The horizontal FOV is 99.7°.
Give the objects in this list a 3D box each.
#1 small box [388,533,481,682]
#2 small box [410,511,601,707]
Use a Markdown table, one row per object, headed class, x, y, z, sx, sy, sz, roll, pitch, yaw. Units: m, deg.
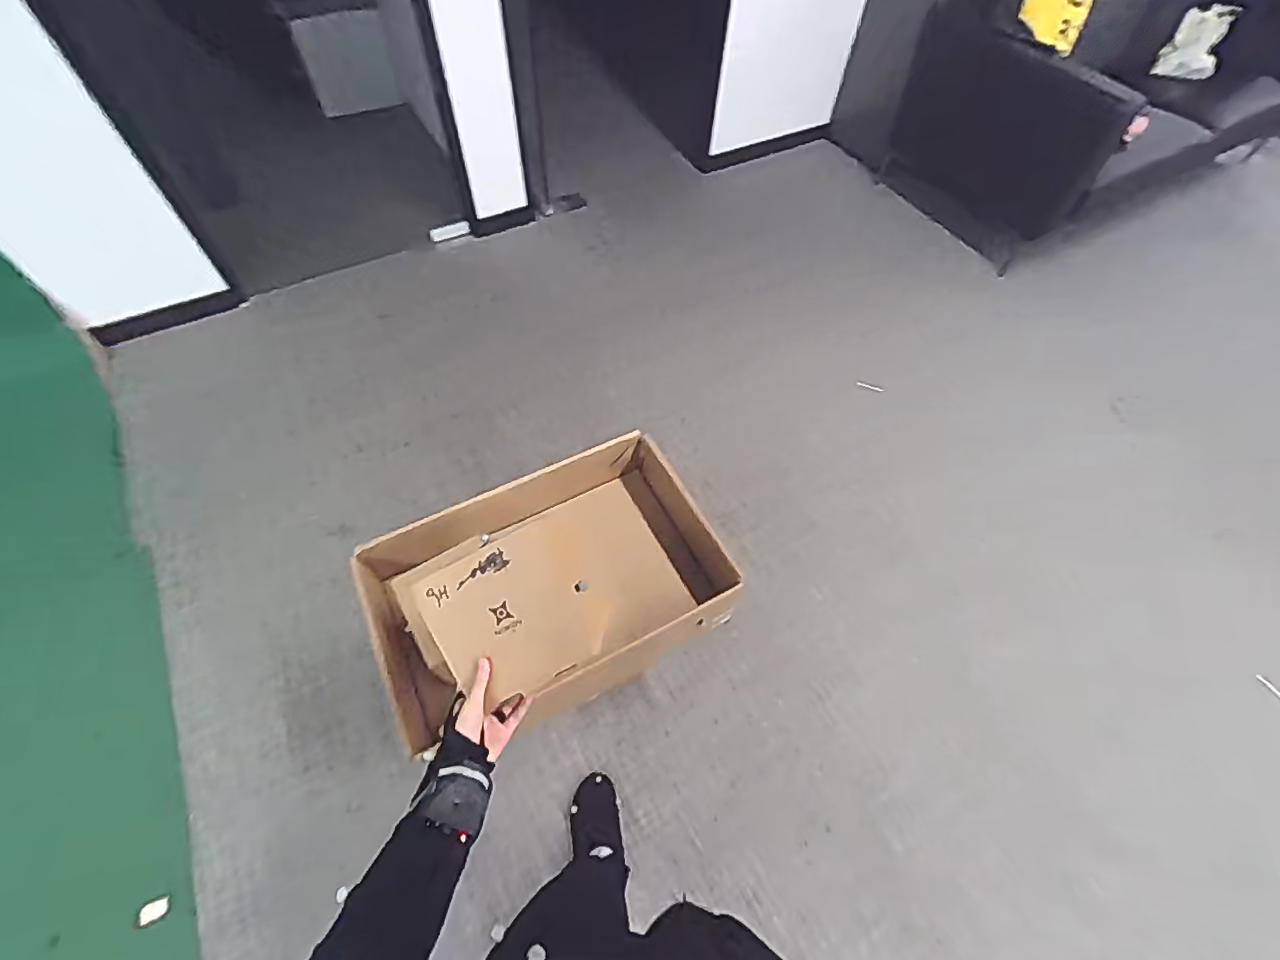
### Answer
| class | x | y | z | sx | sy | sz | roll | pitch | yaw |
| --- | --- | --- | --- | --- | --- | --- | --- | --- | --- |
| small box | -0.317 | 0.232 | 0.968 | 0.168 | 0.176 | 0.179 | -28 | 64 | -18 |
| small box | -0.159 | 0.154 | 0.710 | 0.168 | 0.176 | 0.179 | -27 | 91 | -1 |
